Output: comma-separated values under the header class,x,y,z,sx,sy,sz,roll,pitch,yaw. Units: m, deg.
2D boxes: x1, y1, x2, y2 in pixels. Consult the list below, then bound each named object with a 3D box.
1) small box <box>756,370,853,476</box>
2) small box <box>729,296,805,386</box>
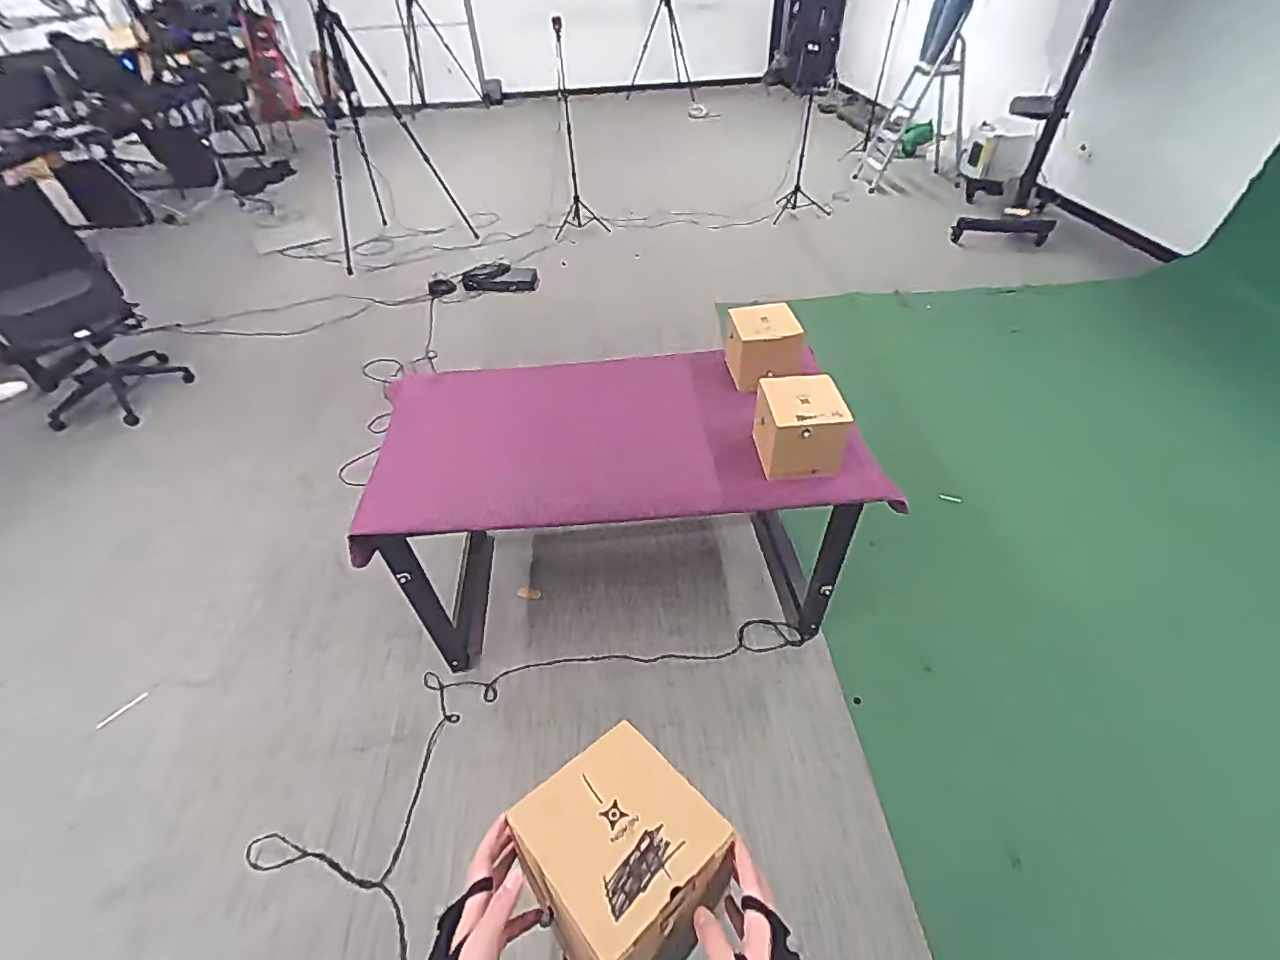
class,x,y,z,sx,sy,sz,roll,pitch,yaw
small box,0.368,-0.132,1.248,0.168,0.176,0.179,-5,46,1
small box,0.344,-0.384,1.498,0.168,0.176,0.179,-8,46,1
